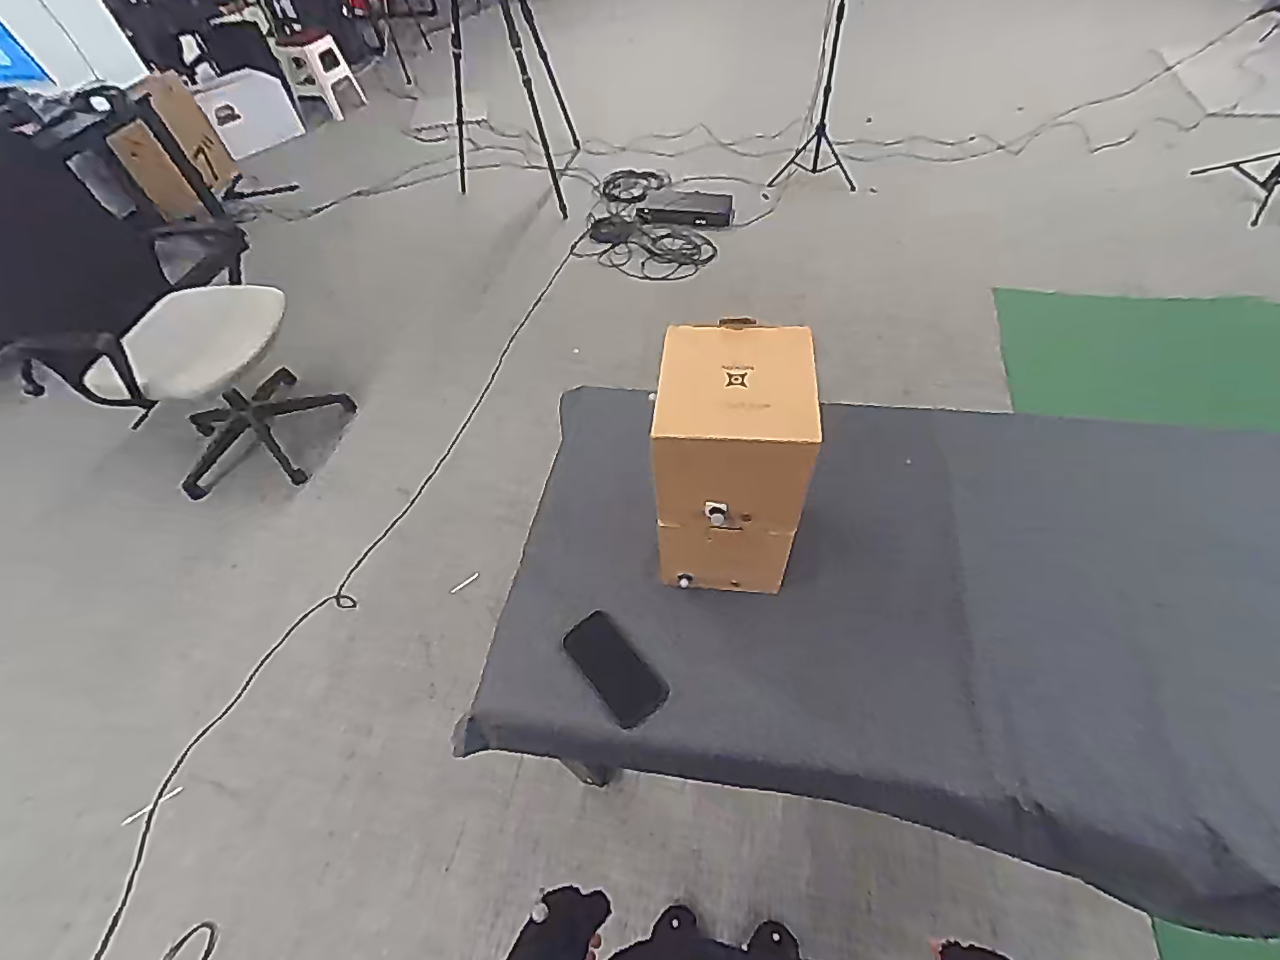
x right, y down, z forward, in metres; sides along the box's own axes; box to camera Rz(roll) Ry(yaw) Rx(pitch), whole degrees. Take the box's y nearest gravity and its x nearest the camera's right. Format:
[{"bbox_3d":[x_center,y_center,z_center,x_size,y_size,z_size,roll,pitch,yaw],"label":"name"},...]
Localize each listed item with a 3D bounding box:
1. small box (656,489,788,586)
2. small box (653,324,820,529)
[{"bbox_3d":[0.117,0.035,0.770,0.168,0.176,0.179,3,53,7],"label":"small box"},{"bbox_3d":[0.108,-0.062,0.640,0.168,0.176,0.179,2,55,8],"label":"small box"}]
